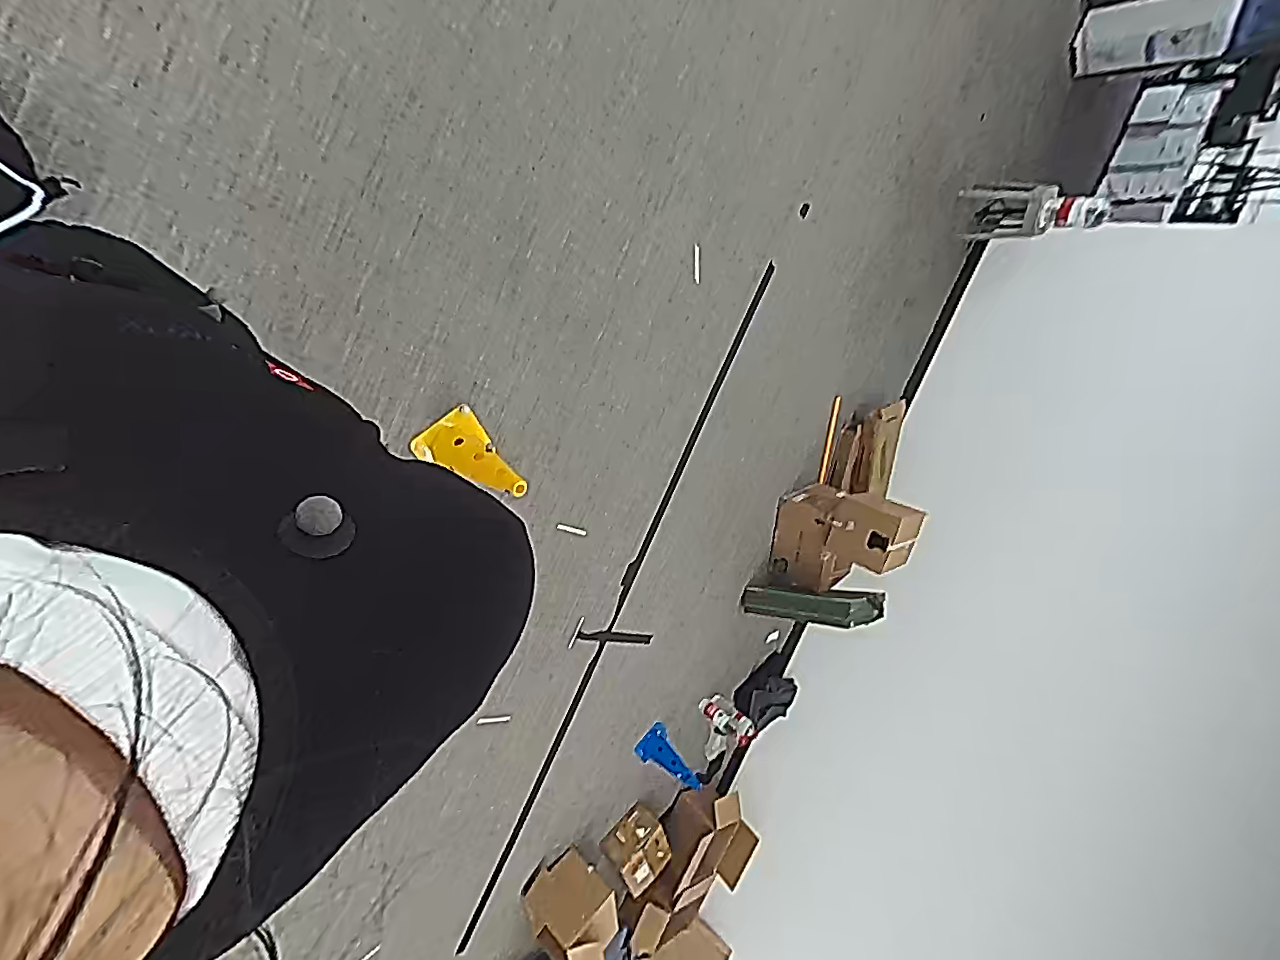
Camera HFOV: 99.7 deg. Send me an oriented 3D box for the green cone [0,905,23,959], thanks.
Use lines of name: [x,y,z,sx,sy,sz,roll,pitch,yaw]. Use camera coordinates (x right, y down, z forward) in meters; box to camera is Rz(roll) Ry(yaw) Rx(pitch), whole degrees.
green cone: [-1.358,1.083,1.041,0.202,0.368,0.200,1,108,-45]
